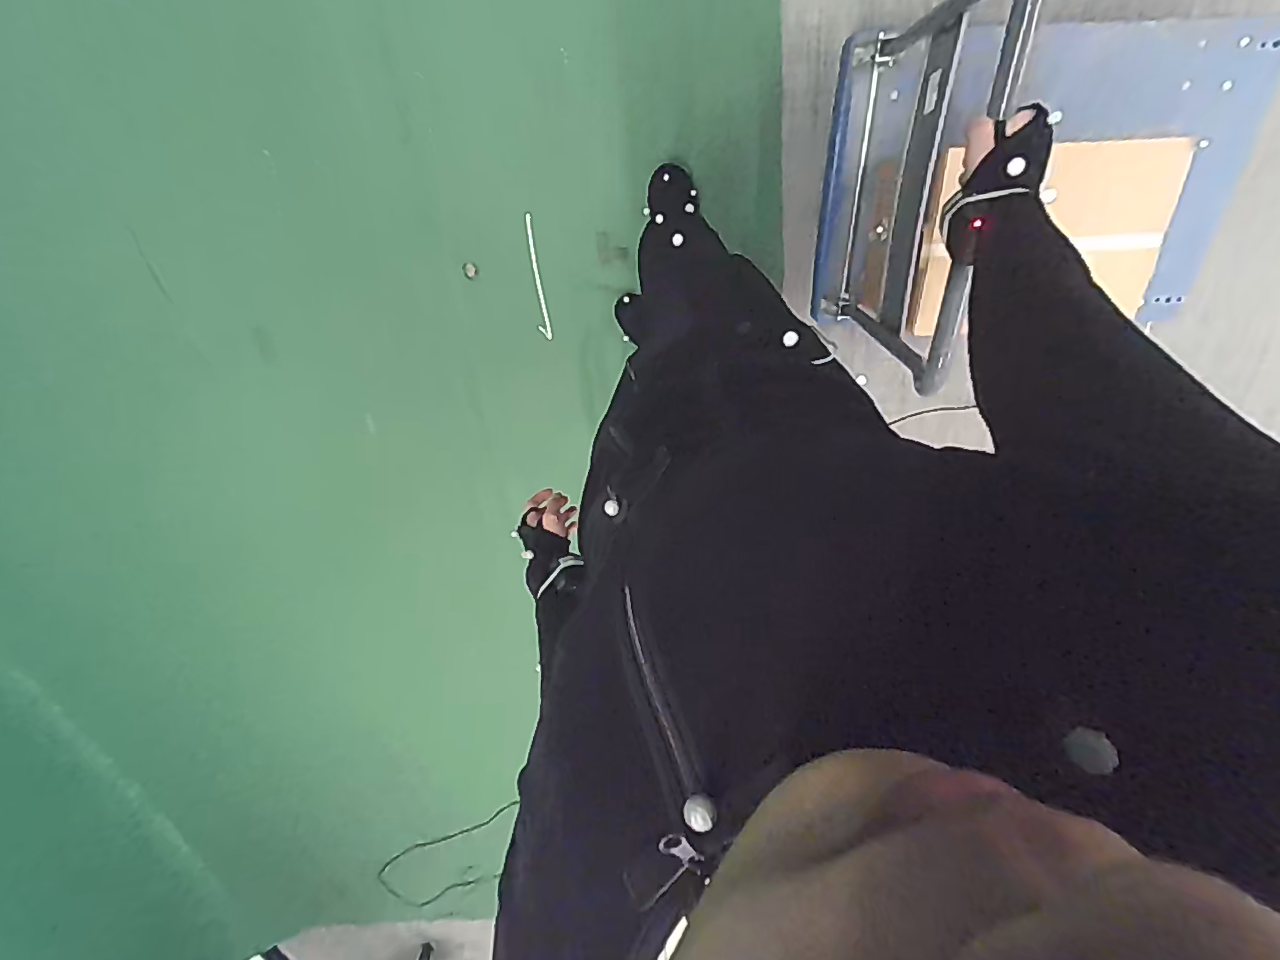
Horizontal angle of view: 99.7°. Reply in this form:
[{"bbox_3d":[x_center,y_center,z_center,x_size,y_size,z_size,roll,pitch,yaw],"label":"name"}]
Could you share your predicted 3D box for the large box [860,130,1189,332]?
[{"bbox_3d":[0.709,-0.495,1.089,0.408,0.320,0.320,-2,118,2],"label":"large box"}]
